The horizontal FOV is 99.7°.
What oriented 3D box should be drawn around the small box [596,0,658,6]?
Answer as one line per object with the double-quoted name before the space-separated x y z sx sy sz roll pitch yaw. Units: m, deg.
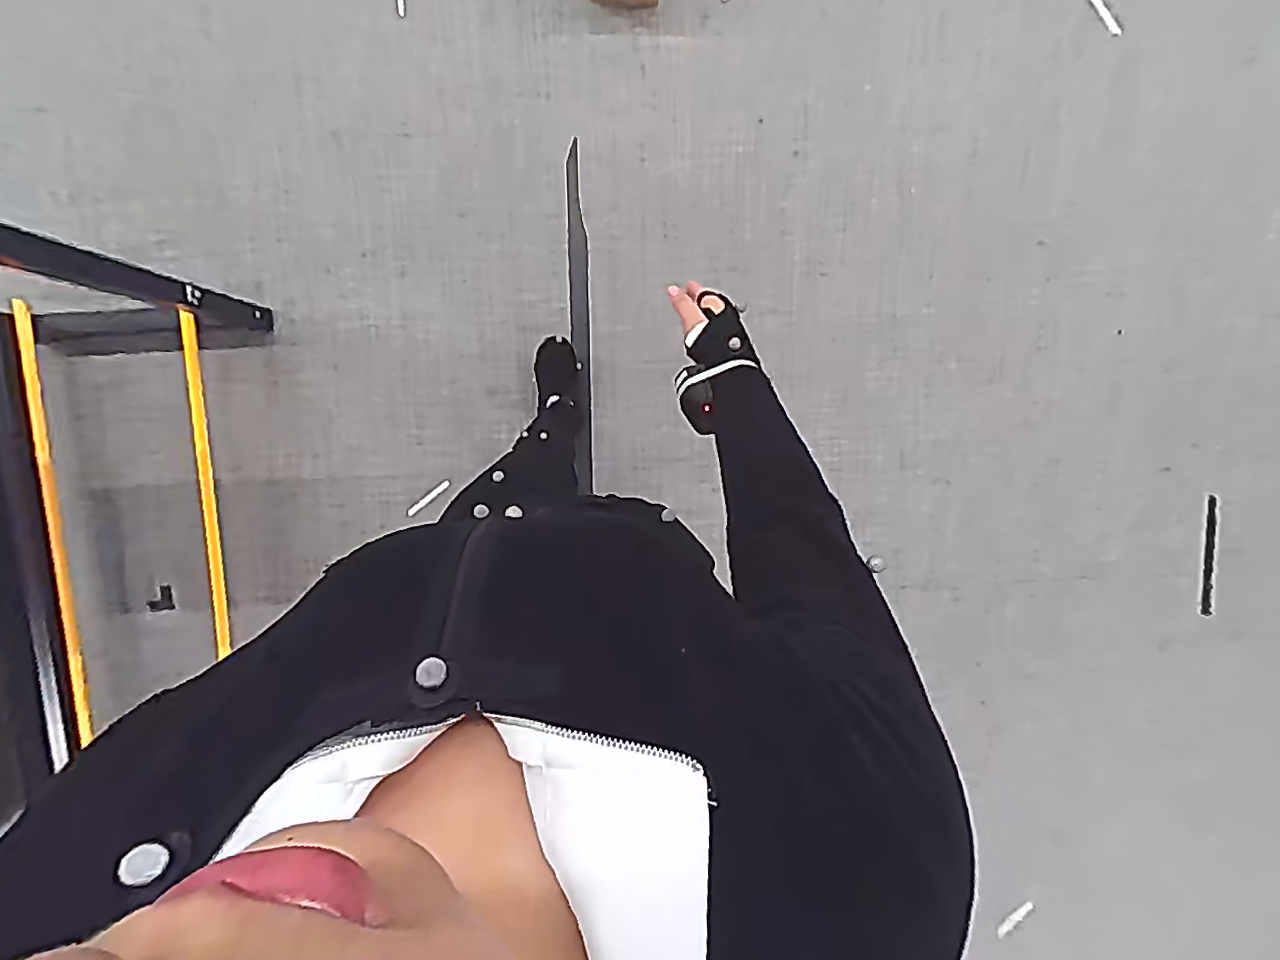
"small box" -0.035 -1.257 1.261 0.179 0.176 0.168 1 96 -5
